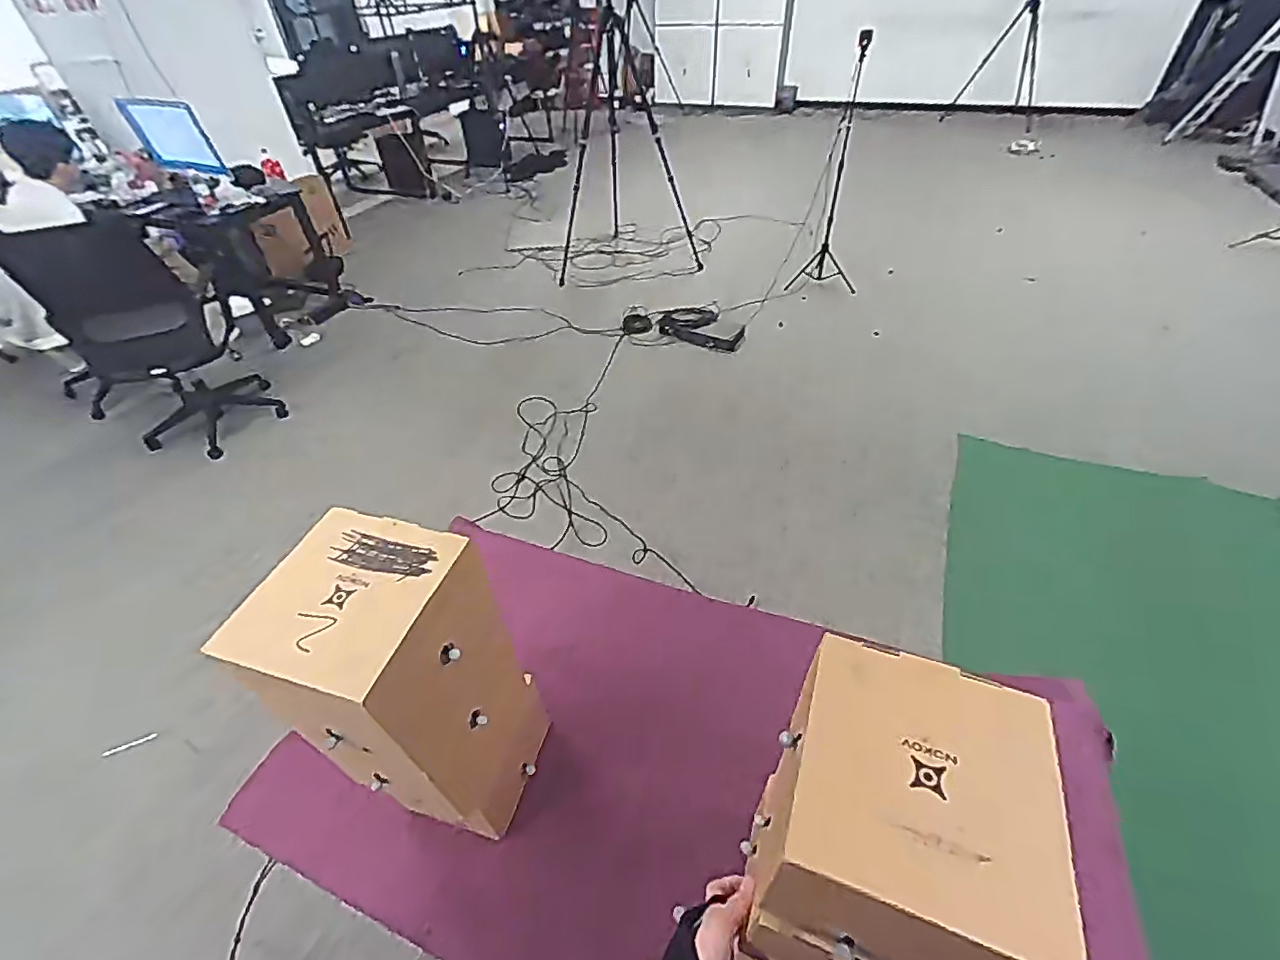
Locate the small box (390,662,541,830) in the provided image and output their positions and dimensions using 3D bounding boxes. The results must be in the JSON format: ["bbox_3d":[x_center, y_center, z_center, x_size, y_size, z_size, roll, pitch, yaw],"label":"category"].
[{"bbox_3d":[-0.255,0.367,0.783,0.168,0.176,0.179,10,45,13],"label":"small box"}]

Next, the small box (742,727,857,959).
[{"bbox_3d":[0.201,0.375,0.523,0.168,0.176,0.179,14,44,17],"label":"small box"}]

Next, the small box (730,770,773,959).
[{"bbox_3d":[0.206,0.490,0.642,0.168,0.176,0.179,13,45,16],"label":"small box"}]

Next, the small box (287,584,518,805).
[{"bbox_3d":[-0.264,0.261,0.656,0.168,0.176,0.179,12,46,13],"label":"small box"}]

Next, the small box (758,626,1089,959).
[{"bbox_3d":[0.196,0.252,0.417,0.168,0.176,0.179,15,46,18],"label":"small box"}]
